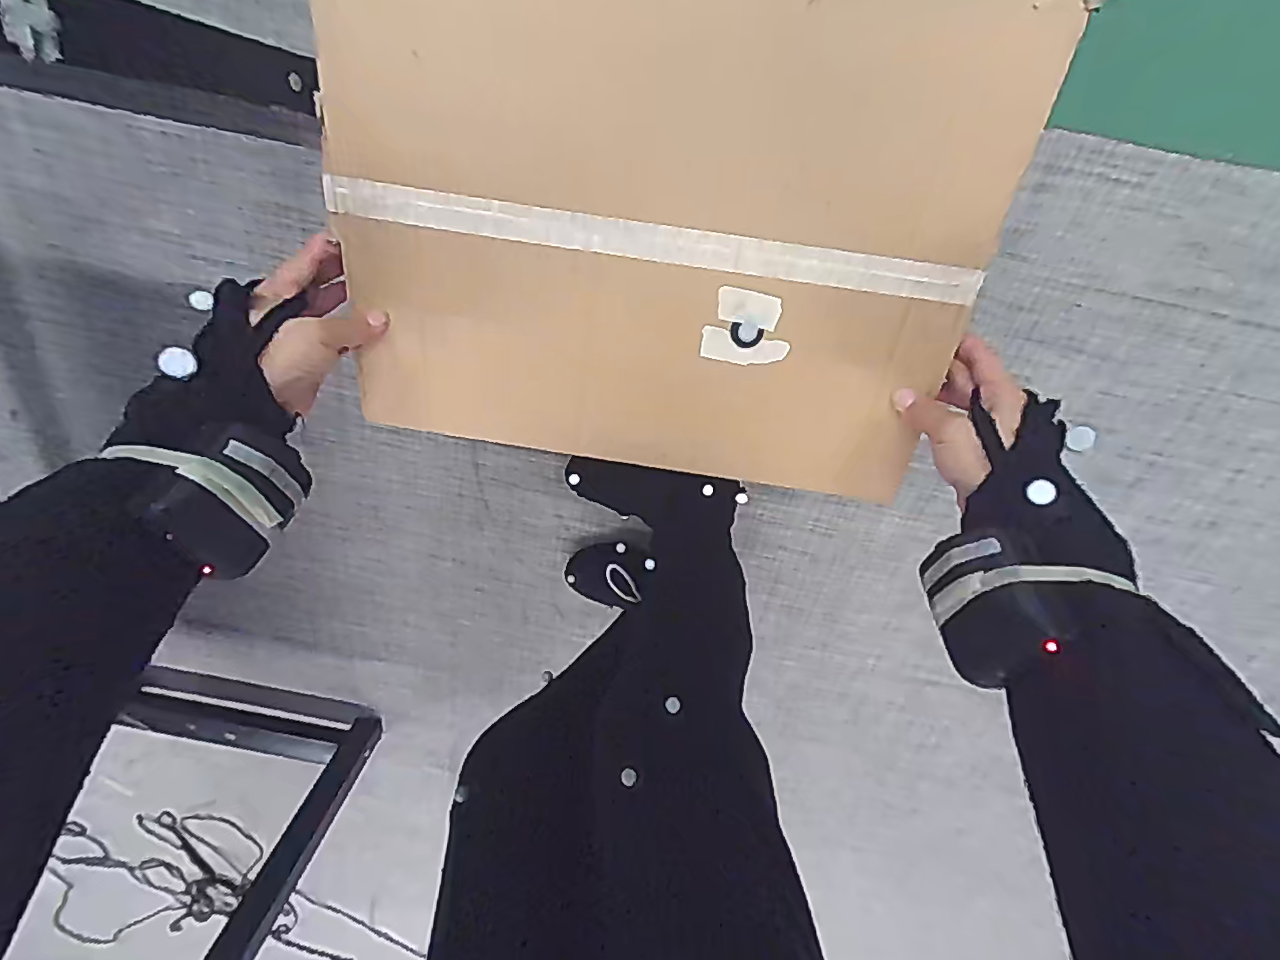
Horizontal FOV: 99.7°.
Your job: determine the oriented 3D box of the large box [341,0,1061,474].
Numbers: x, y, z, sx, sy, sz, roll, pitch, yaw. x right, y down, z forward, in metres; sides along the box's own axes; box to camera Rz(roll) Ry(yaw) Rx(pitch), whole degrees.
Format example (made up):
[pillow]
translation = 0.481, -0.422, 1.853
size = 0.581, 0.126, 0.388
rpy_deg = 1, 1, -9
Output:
[large box]
translation = 0.022, -0.227, 0.485
size = 0.408, 0.320, 0.320
rpy_deg = 7, 118, 0
